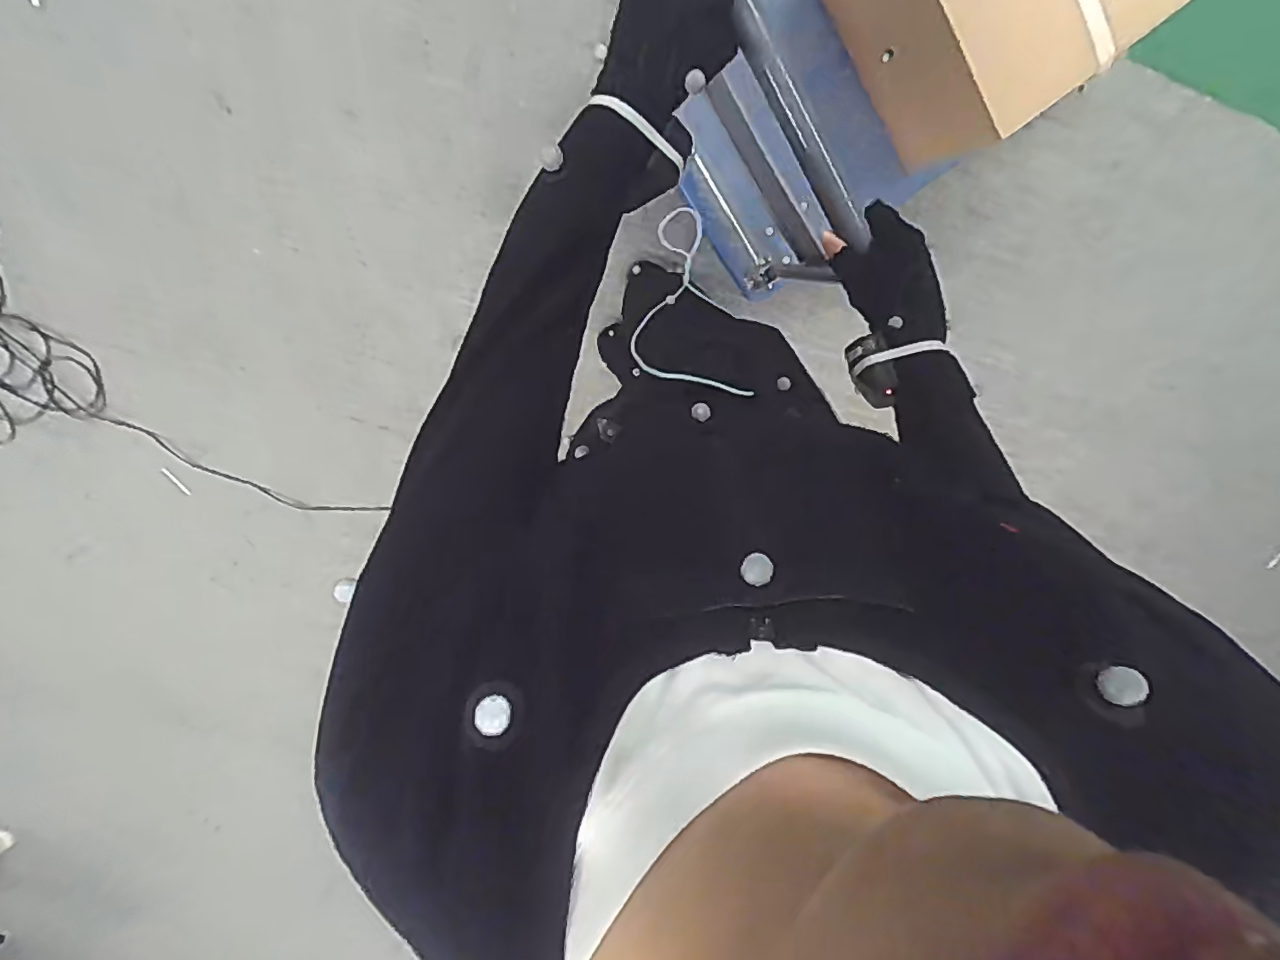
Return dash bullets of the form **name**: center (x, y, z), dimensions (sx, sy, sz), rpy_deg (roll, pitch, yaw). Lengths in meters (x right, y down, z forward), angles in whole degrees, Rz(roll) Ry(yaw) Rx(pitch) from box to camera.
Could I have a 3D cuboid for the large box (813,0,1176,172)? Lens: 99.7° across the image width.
- **large box**: center (0.537, -0.797, 0.869), dimensions (0.320, 0.320, 0.408), rpy_deg (-36, 106, 12)
